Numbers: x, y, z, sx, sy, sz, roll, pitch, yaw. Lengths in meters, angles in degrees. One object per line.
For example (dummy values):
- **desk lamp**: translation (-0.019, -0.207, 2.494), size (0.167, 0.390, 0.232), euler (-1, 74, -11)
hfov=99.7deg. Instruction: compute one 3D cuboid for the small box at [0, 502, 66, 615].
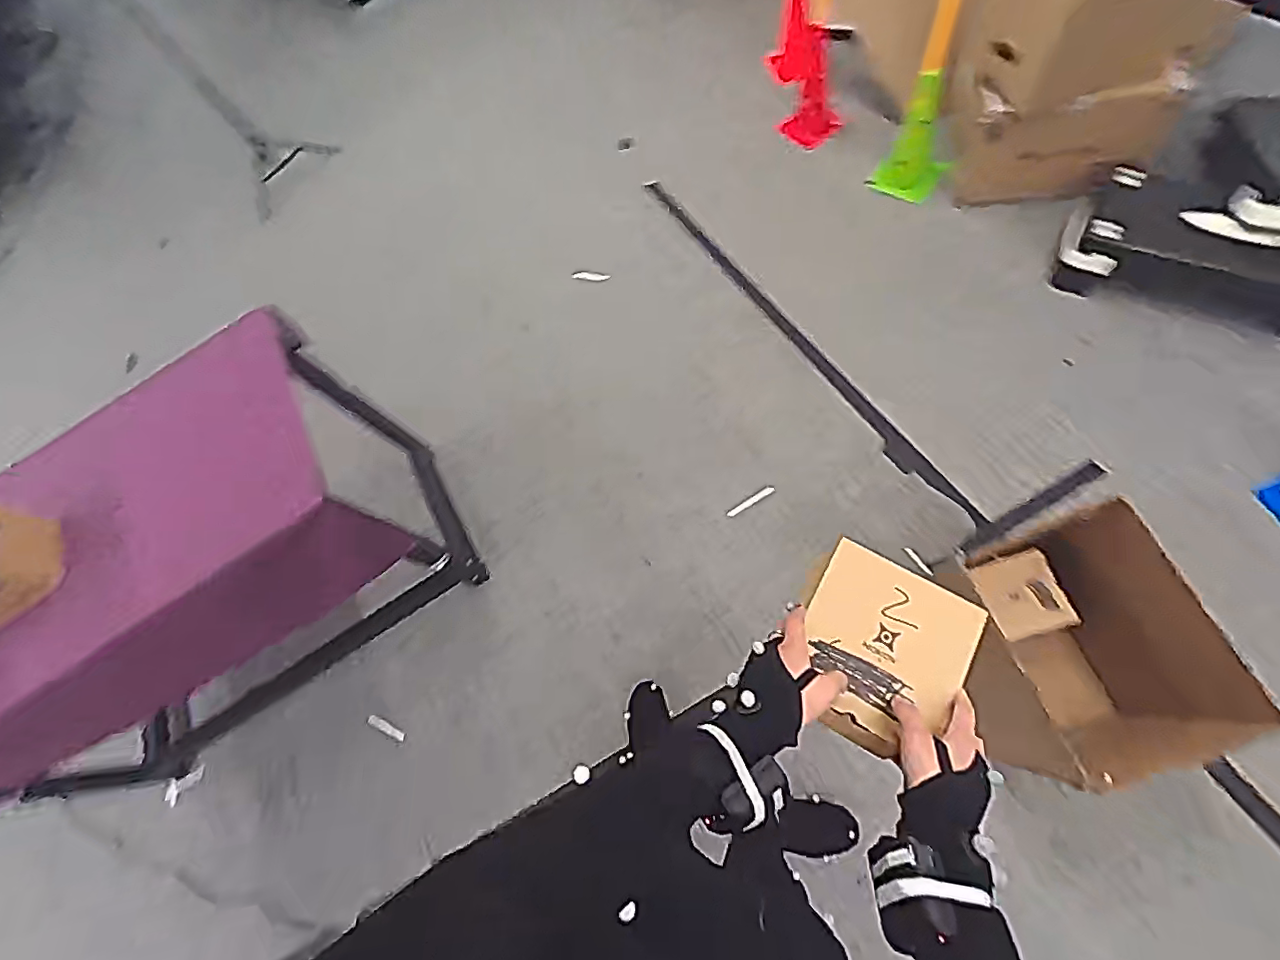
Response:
- **small box**: translation (-1.290, 0.152, 1.061), size (0.168, 0.176, 0.179), euler (-34, 64, -2)
